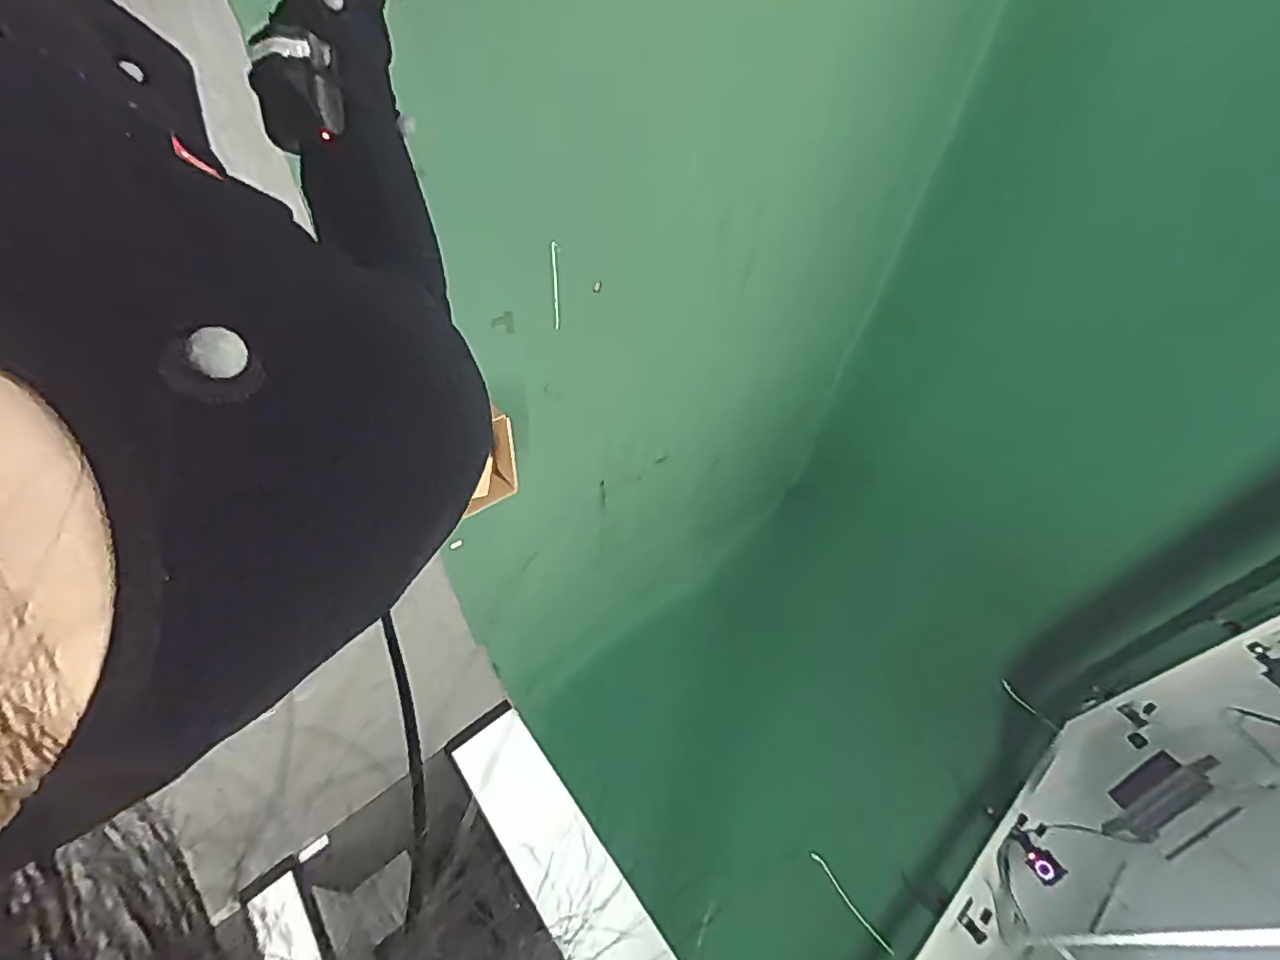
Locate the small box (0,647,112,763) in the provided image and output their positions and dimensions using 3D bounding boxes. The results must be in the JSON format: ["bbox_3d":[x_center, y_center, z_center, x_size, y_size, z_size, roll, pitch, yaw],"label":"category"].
[{"bbox_3d":[-1.421,0.529,1.297,0.168,0.176,0.179,-21,142,-33],"label":"small box"}]
